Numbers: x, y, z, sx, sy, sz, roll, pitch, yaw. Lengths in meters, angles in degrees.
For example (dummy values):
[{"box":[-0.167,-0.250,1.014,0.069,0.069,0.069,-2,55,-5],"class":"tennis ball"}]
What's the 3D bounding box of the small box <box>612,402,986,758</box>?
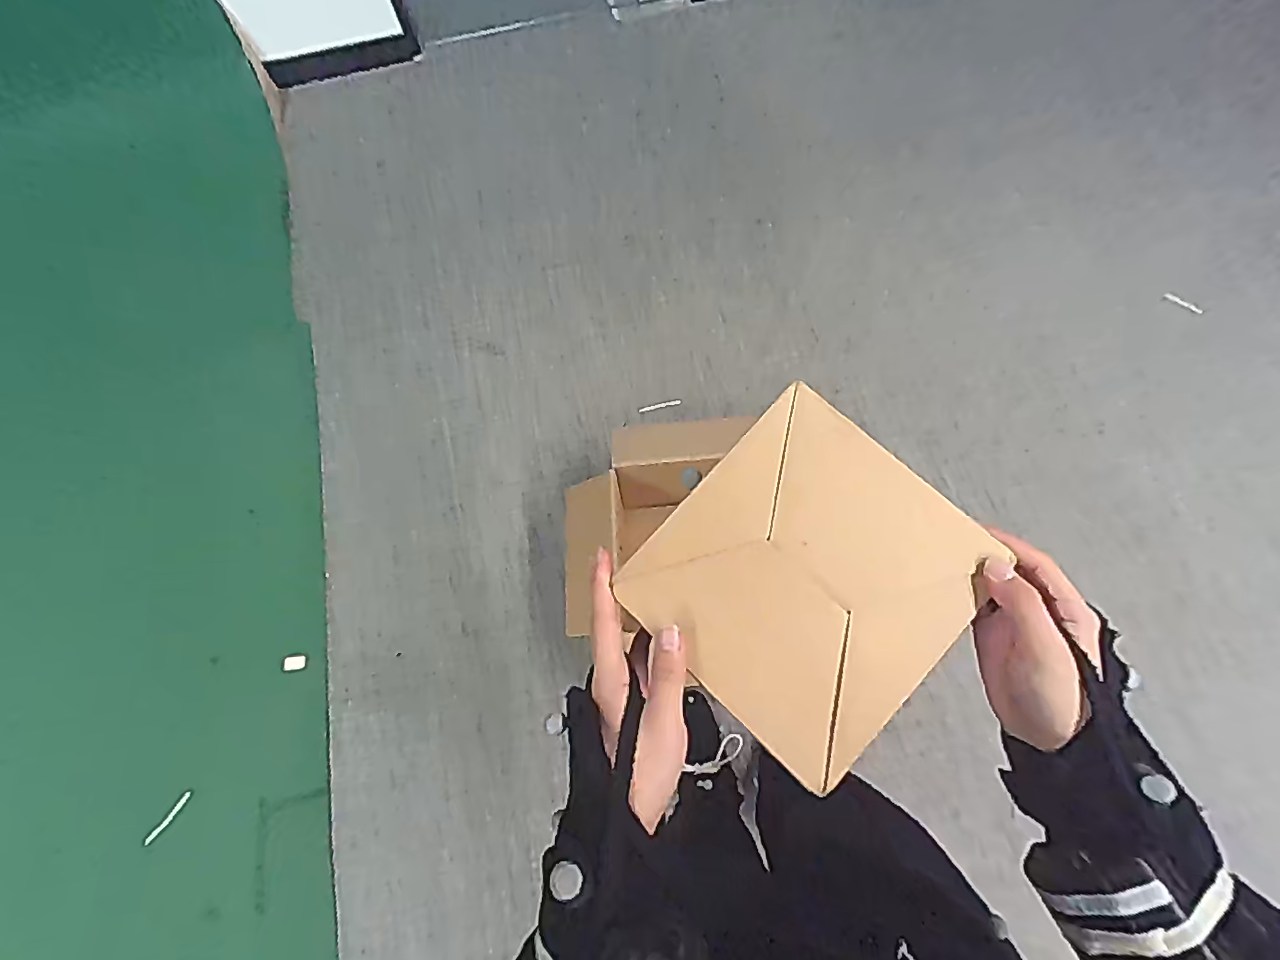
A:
[{"box":[0.101,0.063,0.397,0.168,0.176,0.179,42,84,11],"class":"small box"}]
